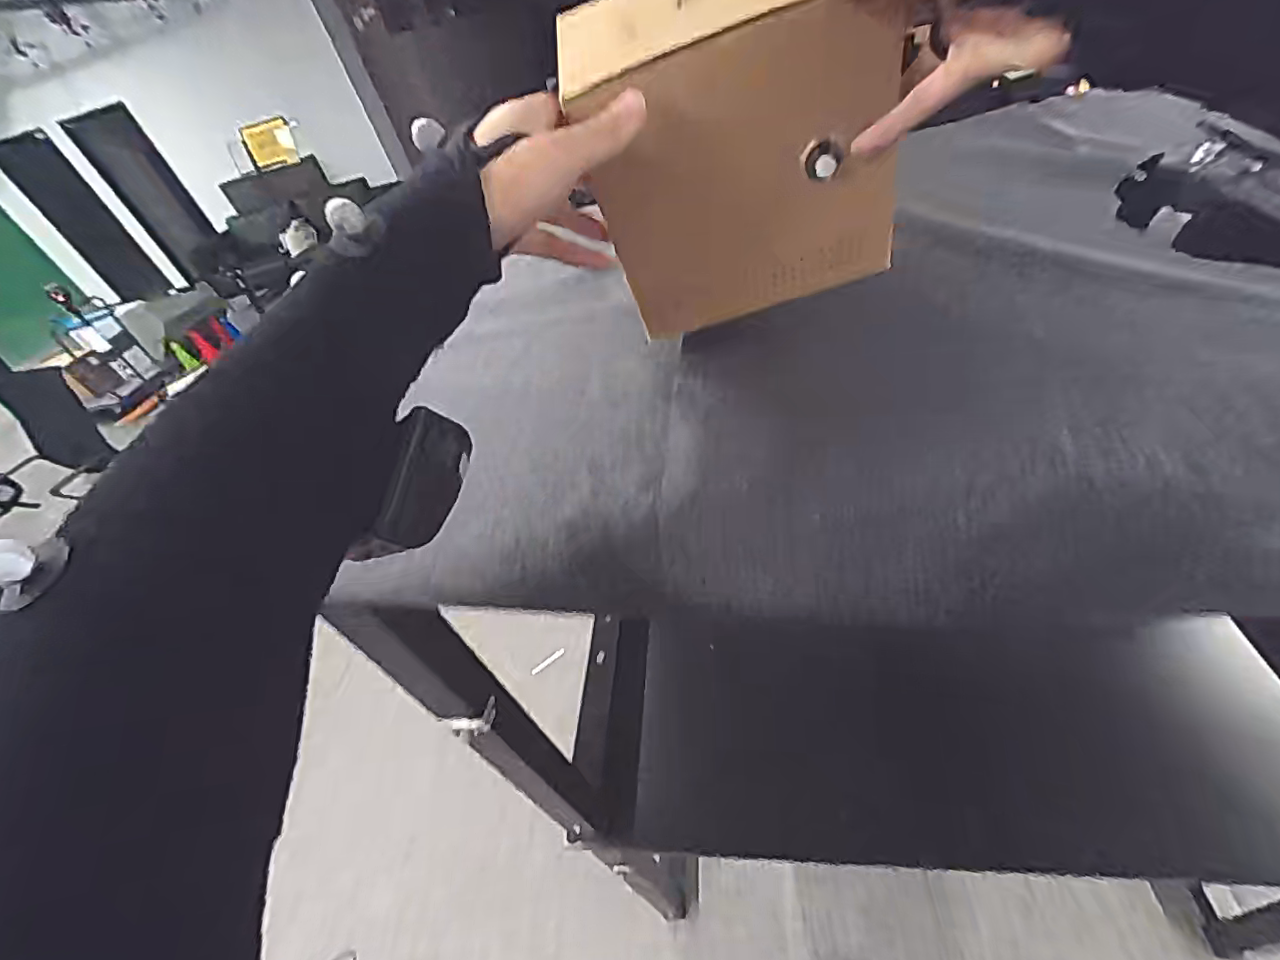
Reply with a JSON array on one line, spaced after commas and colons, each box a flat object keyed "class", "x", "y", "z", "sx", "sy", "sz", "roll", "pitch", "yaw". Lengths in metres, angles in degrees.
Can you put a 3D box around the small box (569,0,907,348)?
[{"class": "small box", "x": 0.062, "y": -0.225, "z": 0.384, "sx": 0.179, "sy": 0.176, "sz": 0.168, "roll": -15, "pitch": 50, "yaw": 10}]
